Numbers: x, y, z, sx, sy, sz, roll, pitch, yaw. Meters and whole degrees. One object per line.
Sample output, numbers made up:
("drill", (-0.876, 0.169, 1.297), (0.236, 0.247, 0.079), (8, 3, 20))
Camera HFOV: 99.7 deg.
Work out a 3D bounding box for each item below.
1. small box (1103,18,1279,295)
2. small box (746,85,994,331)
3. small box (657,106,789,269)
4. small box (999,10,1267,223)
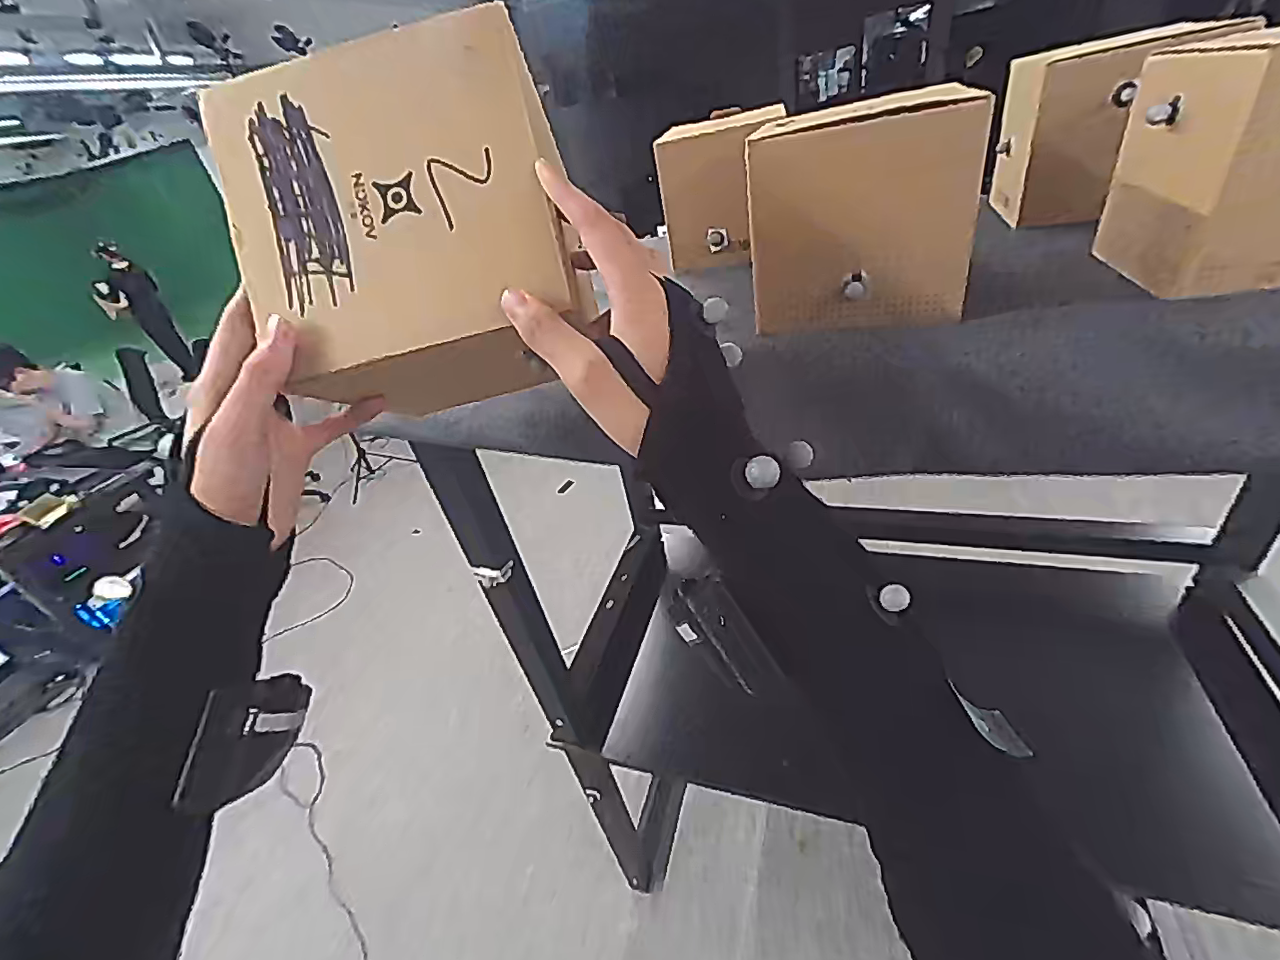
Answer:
("small box", (0.494, -0.244, 0.403), (0.168, 0.176, 0.179), (1, 35, 19))
("small box", (0.203, -0.251, 0.510), (0.179, 0.176, 0.168), (2, 36, 20))
("small box", (0.131, -0.415, 0.771), (0.168, 0.176, 0.179), (-3, 35, 16))
("small box", (0.541, -0.413, 0.633), (0.179, 0.176, 0.168), (2, 37, 21))
